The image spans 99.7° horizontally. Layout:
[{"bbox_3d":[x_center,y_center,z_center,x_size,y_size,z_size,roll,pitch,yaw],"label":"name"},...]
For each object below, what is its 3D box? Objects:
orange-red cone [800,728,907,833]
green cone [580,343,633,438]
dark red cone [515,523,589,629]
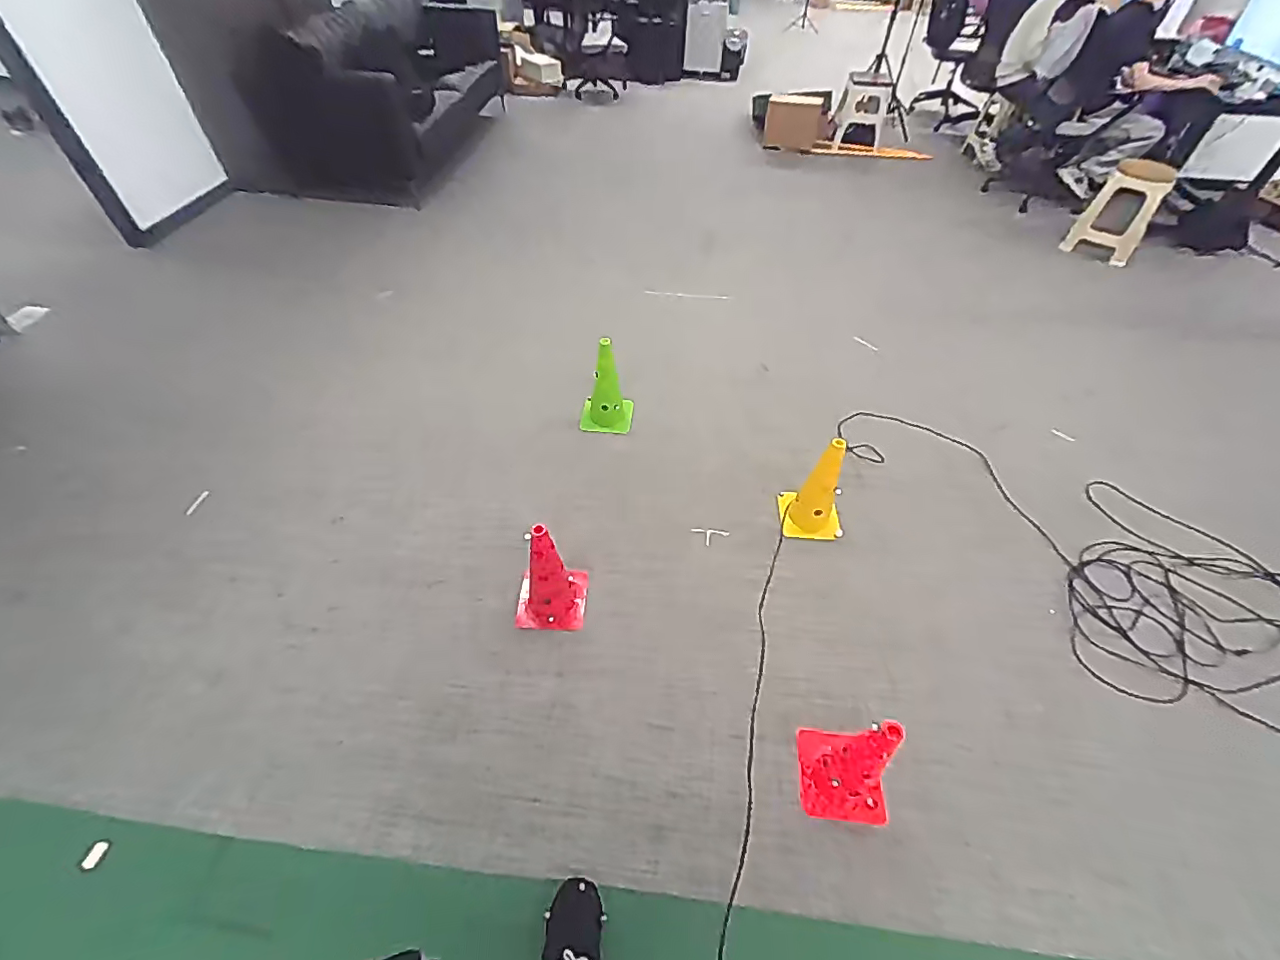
[{"bbox_3d":[0.501,0.624,1.198,0.198,0.360,0.199,7,47,3],"label":"orange-red cone"},{"bbox_3d":[-0.126,-0.359,2.067,0.202,0.368,0.200,5,49,1],"label":"green cone"},{"bbox_3d":[-0.254,0.245,1.487,0.202,0.394,0.201,2,49,0],"label":"dark red cone"}]
